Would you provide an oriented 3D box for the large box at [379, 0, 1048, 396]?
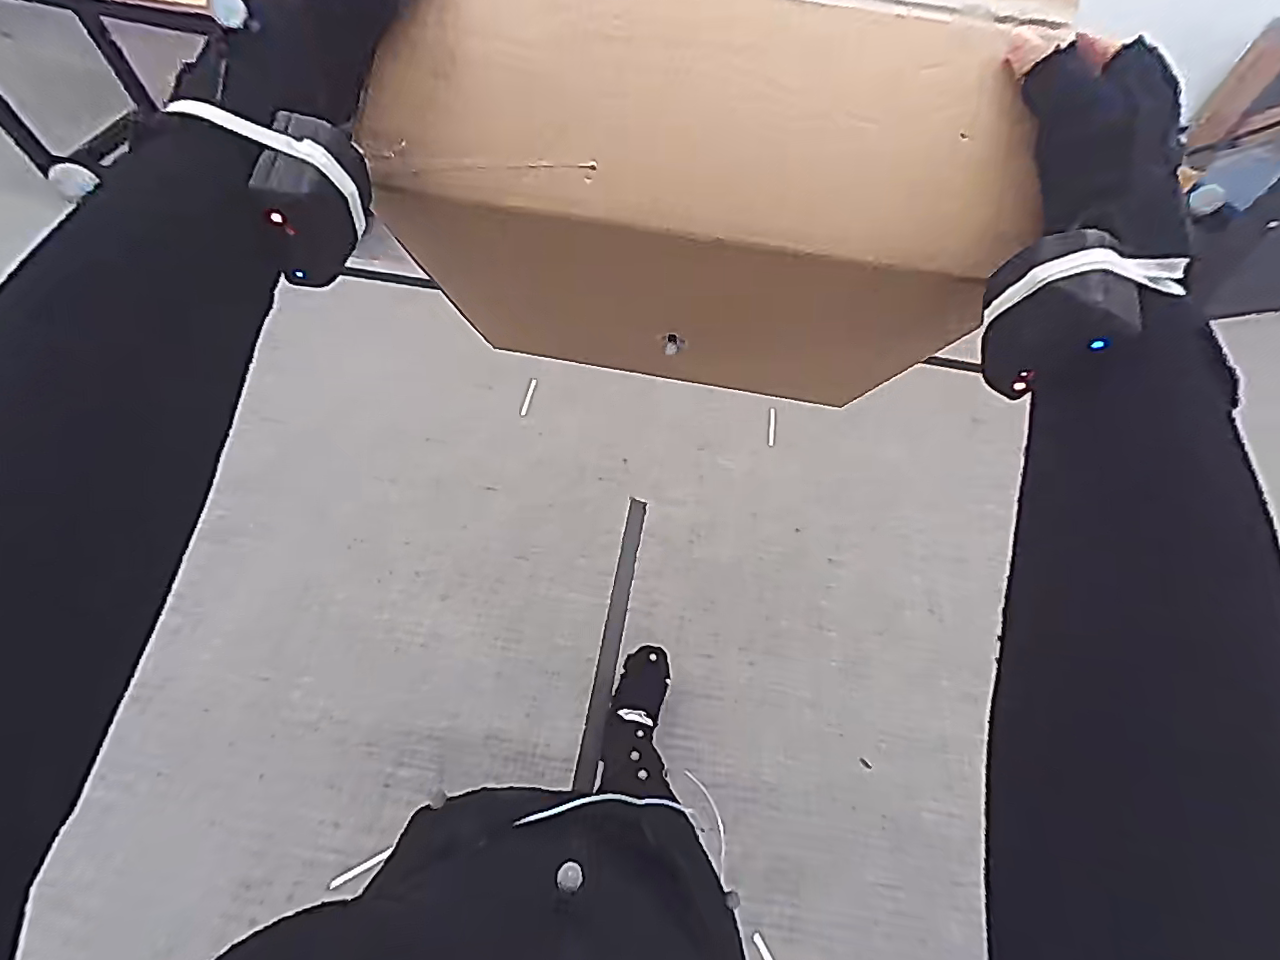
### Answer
[{"bbox_3d":[0.058,-0.281,0.492,0.408,0.320,0.320,10,85,2],"label":"large box"}]
